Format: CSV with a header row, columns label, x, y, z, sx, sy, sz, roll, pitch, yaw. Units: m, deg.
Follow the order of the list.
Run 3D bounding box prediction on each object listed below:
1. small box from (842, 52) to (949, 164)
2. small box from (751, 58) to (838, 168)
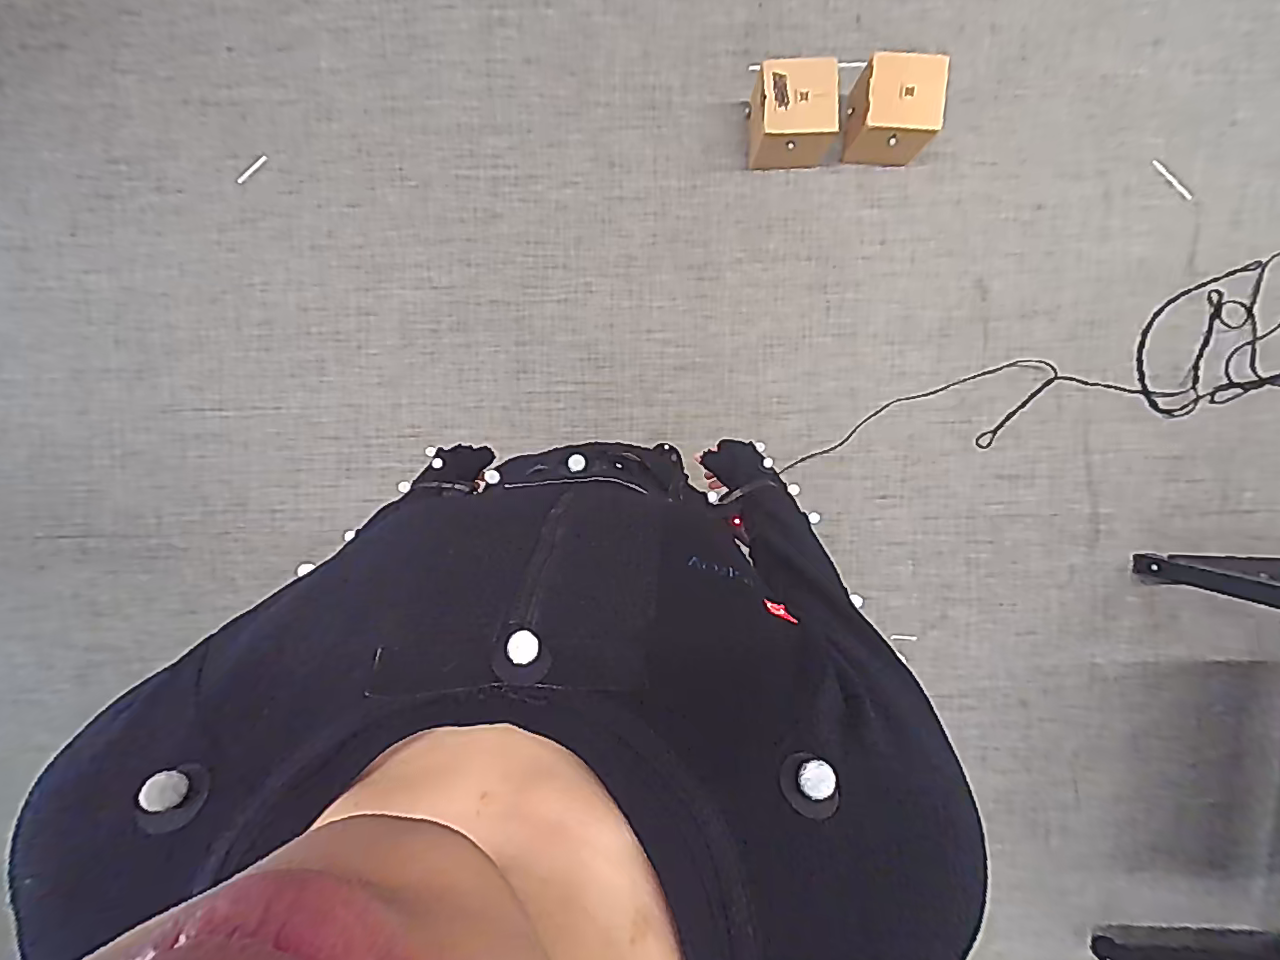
label,x,y,z,sx,sy,sz,roll,pitch,yaw
small box,0.615,-0.897,1.318,0.179,0.176,0.168,4,95,2
small box,0.370,-0.888,1.322,0.179,0.176,0.168,-2,94,0
